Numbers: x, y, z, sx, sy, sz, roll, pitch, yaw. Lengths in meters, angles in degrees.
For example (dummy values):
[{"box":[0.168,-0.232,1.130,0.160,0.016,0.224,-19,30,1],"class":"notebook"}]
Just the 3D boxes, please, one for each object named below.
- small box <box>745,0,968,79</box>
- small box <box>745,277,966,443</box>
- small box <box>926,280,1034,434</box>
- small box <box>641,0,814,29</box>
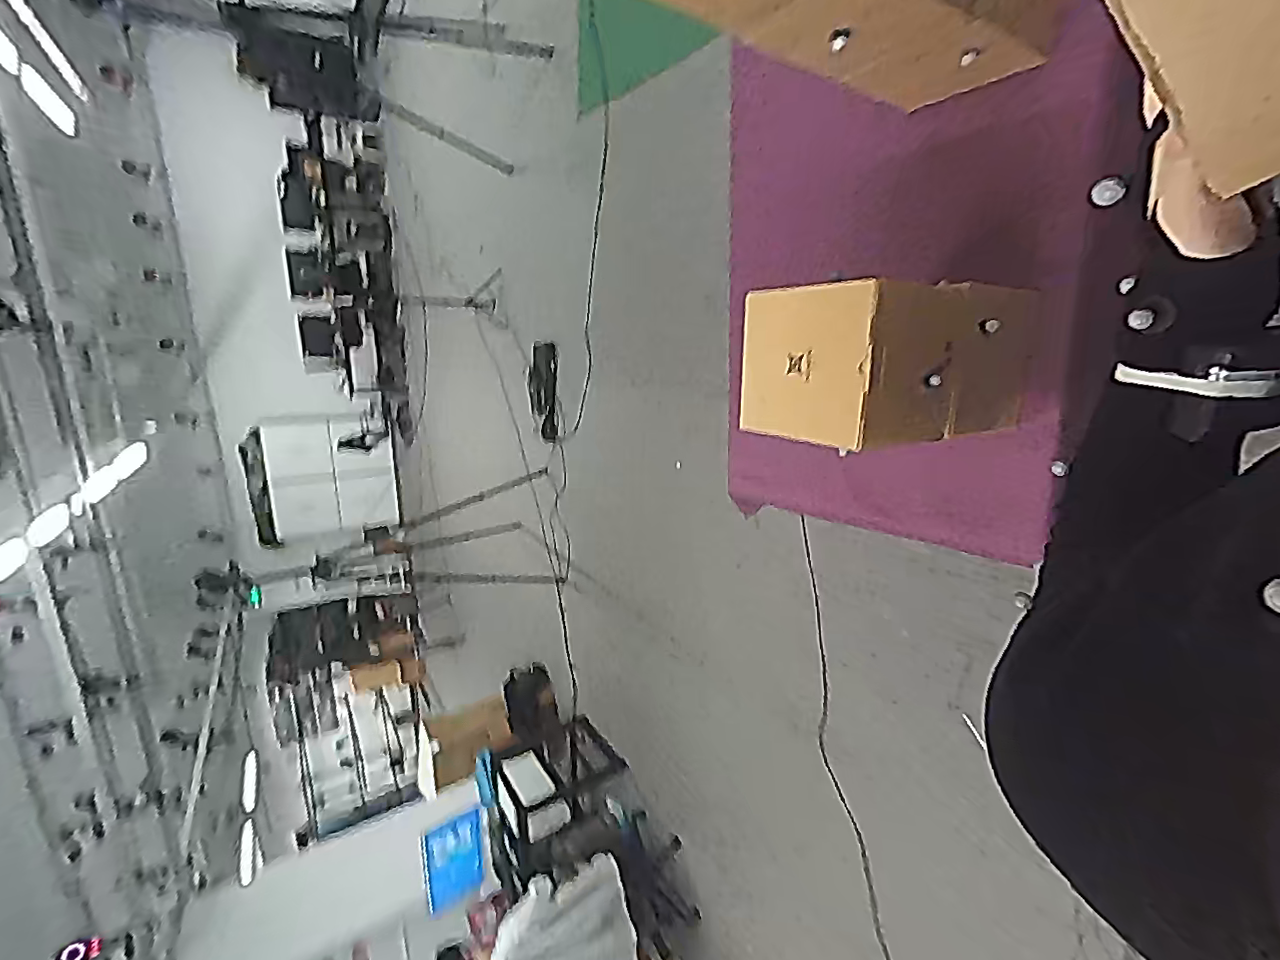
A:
[{"box":[0.235,-0.559,0.565,0.179,0.176,0.168,24,118,54],"class":"small box"},{"box":[0.250,-0.142,0.648,0.179,0.176,0.168,20,114,54],"class":"small box"},{"box":[0.392,-0.163,0.725,0.168,0.176,0.179,20,115,56],"class":"small box"},{"box":[0.101,-0.538,0.474,0.168,0.176,0.179,24,117,52],"class":"small box"}]
